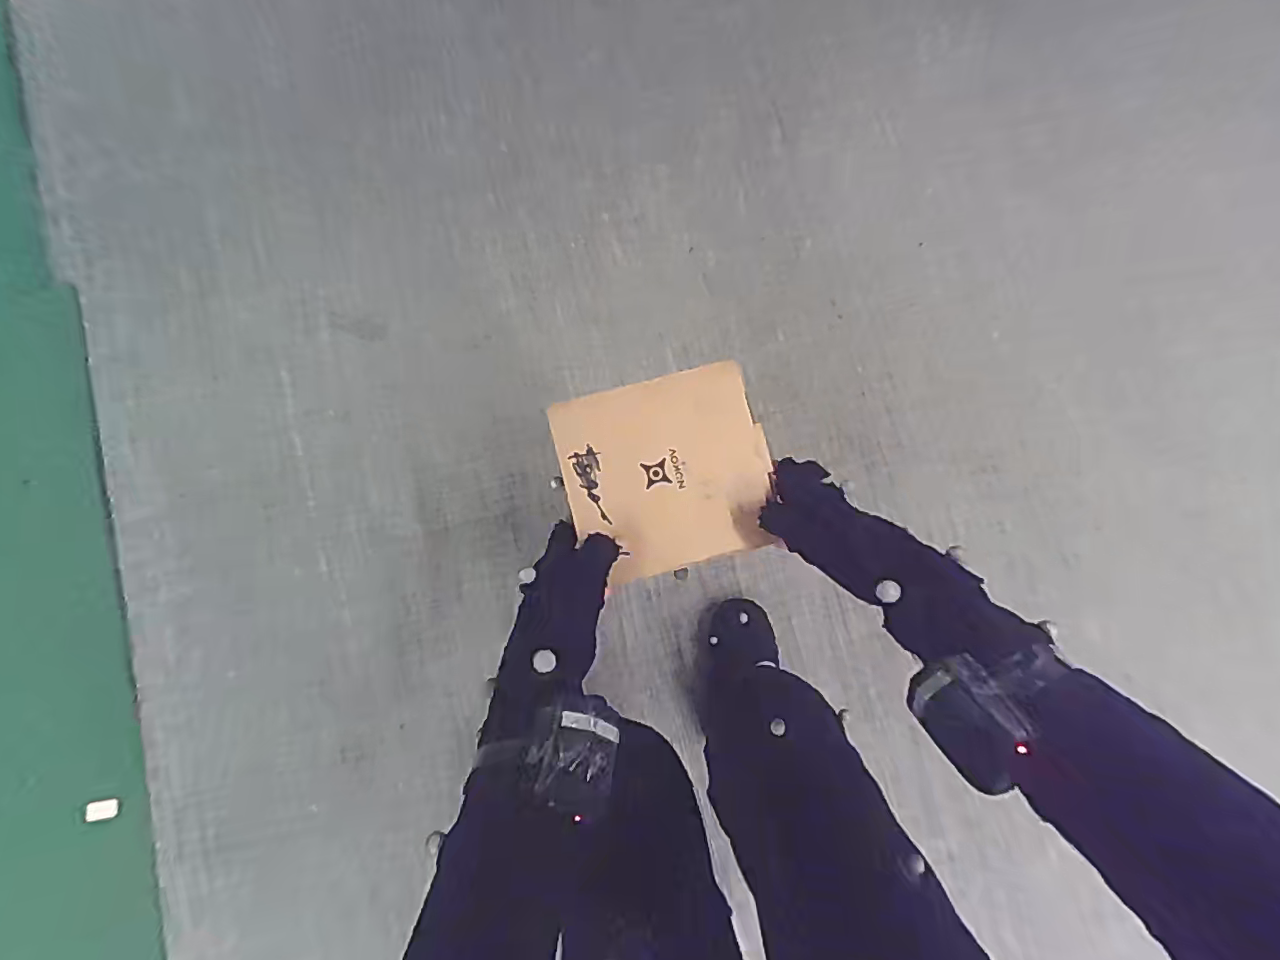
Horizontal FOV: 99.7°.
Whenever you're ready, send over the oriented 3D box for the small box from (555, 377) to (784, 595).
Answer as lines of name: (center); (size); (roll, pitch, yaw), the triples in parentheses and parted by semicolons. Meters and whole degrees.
small box: (0.022, 0.012, 0.559); (0.179, 0.176, 0.168); (-14, 82, -4)
